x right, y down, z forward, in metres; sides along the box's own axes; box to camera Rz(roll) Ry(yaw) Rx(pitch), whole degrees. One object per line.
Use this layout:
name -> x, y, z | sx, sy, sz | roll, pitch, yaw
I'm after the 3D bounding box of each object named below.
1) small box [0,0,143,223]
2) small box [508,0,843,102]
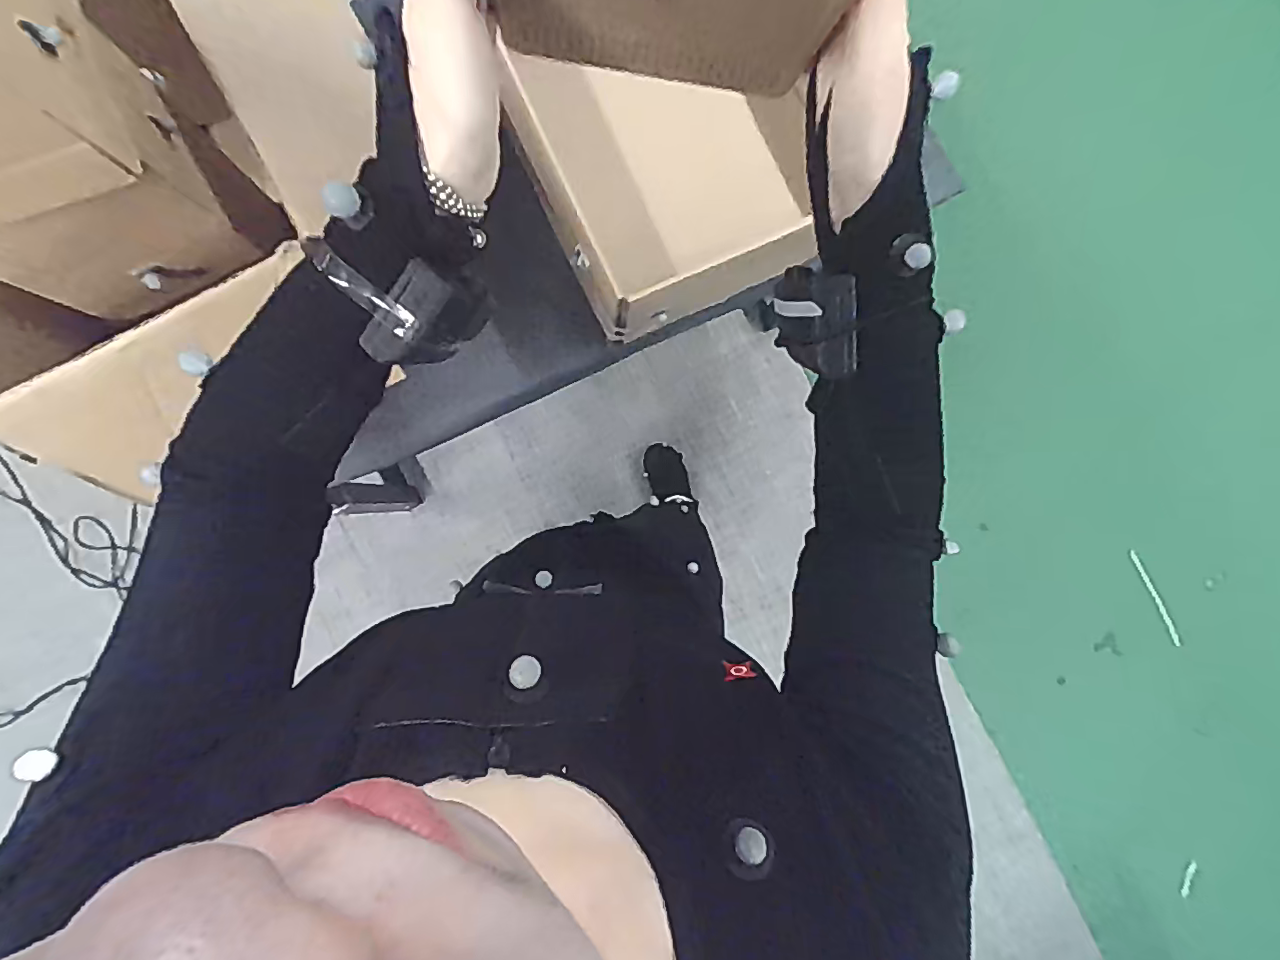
small box -> -0.478, -0.272, 0.328 | 0.179, 0.176, 0.168 | -22, 90, -6
small box -> 0.024, -0.311, 0.250 | 0.179, 0.176, 0.168 | 5, 101, -5
